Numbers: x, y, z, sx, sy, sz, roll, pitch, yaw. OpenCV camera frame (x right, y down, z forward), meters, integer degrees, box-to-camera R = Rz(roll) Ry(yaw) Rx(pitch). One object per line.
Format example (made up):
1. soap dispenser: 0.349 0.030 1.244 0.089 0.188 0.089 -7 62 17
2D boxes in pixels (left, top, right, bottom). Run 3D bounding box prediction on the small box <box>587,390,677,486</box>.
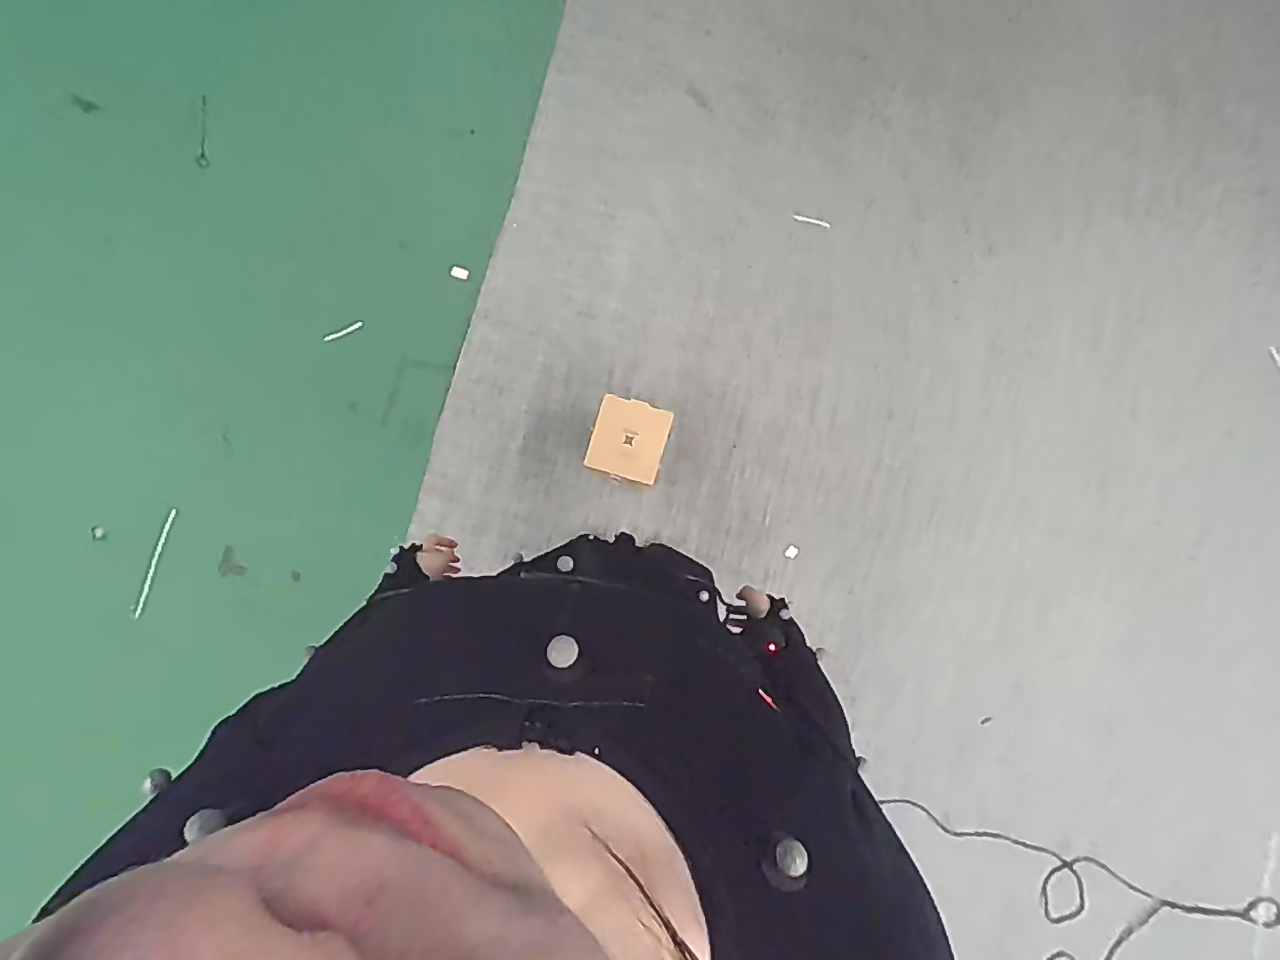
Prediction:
1. small box: -0.018 -0.093 1.280 0.168 0.176 0.179 16 87 2
